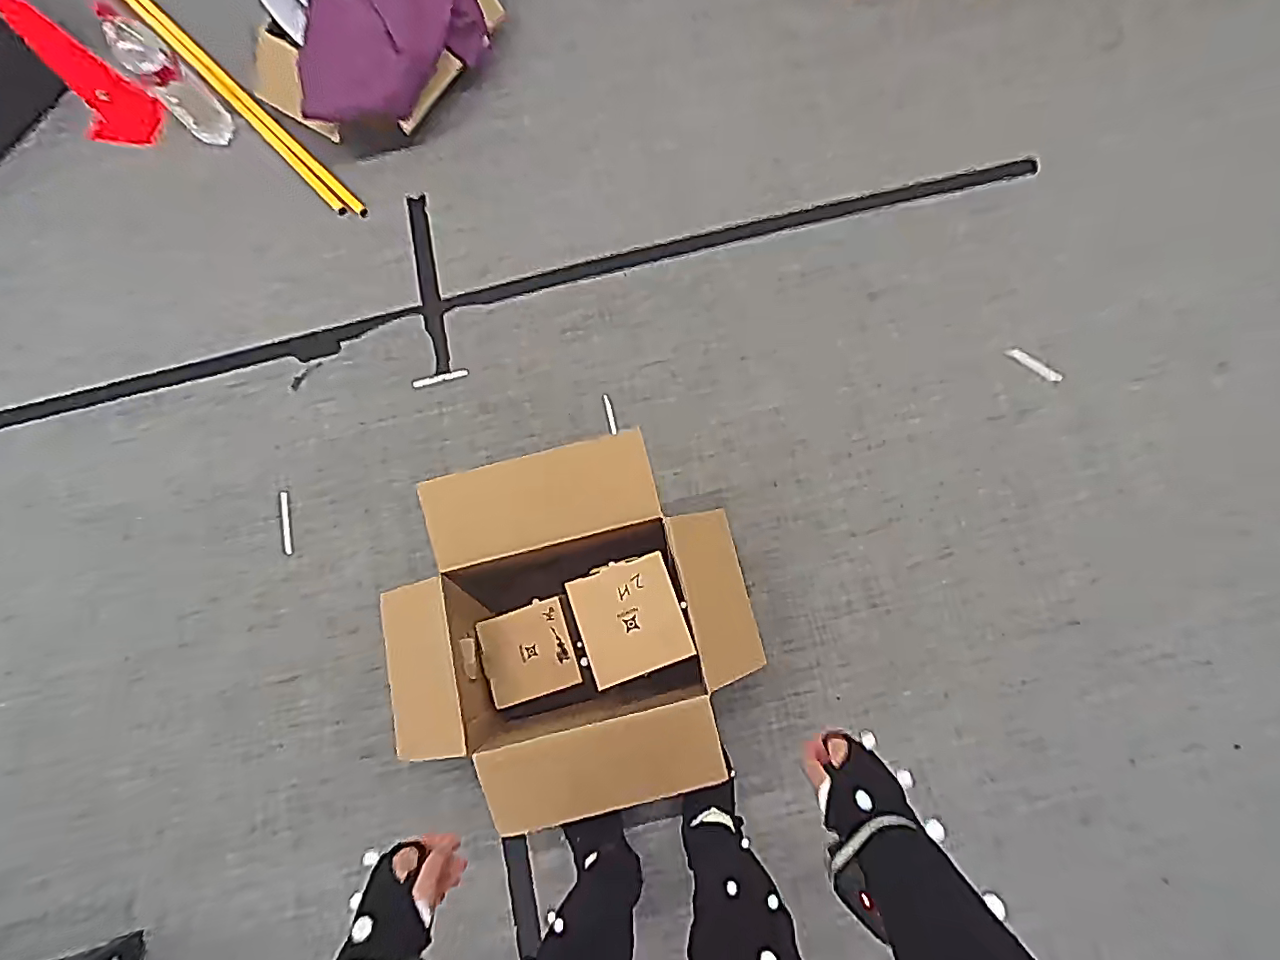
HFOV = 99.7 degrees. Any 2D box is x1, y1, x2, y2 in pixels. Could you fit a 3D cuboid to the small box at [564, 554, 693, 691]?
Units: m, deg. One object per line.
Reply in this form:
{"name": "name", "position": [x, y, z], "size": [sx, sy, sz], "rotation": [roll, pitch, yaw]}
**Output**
{"name": "small box", "position": [-0.019, 0.239, 0.935], "size": [0.168, 0.176, 0.179], "rotation": [-19, 78, -6]}
